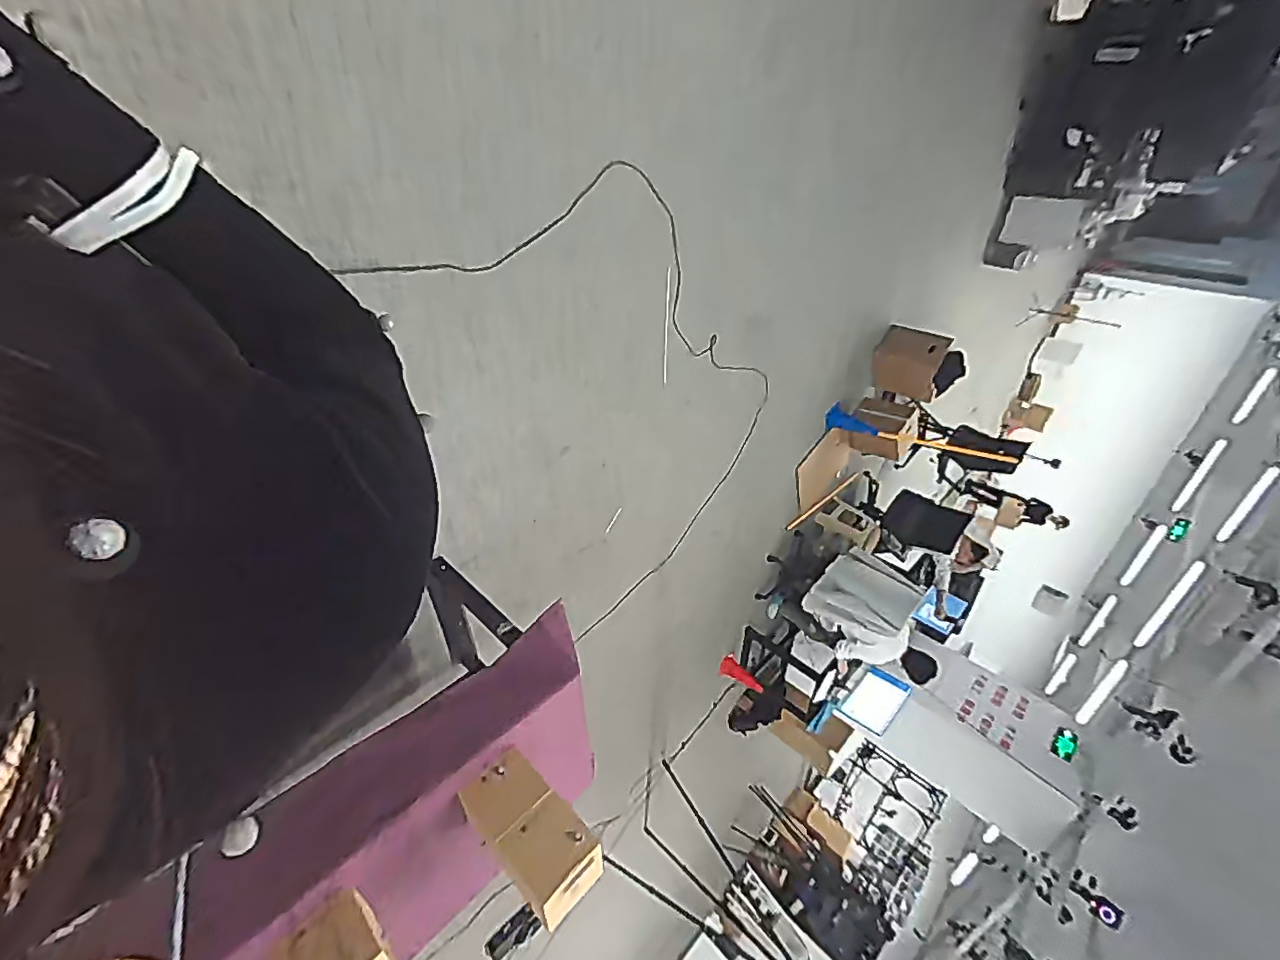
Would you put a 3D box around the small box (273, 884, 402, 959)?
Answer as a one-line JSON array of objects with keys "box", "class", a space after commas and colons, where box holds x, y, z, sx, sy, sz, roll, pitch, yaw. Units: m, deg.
[{"box": [-0.617, 0.992, 1.120, 0.168, 0.176, 0.179, -32, 137, -36], "class": "small box"}]

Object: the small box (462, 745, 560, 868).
[{"box": [-0.322, 0.811, 1.358, 0.168, 0.176, 0.179, -30, 134, -36], "class": "small box"}]
